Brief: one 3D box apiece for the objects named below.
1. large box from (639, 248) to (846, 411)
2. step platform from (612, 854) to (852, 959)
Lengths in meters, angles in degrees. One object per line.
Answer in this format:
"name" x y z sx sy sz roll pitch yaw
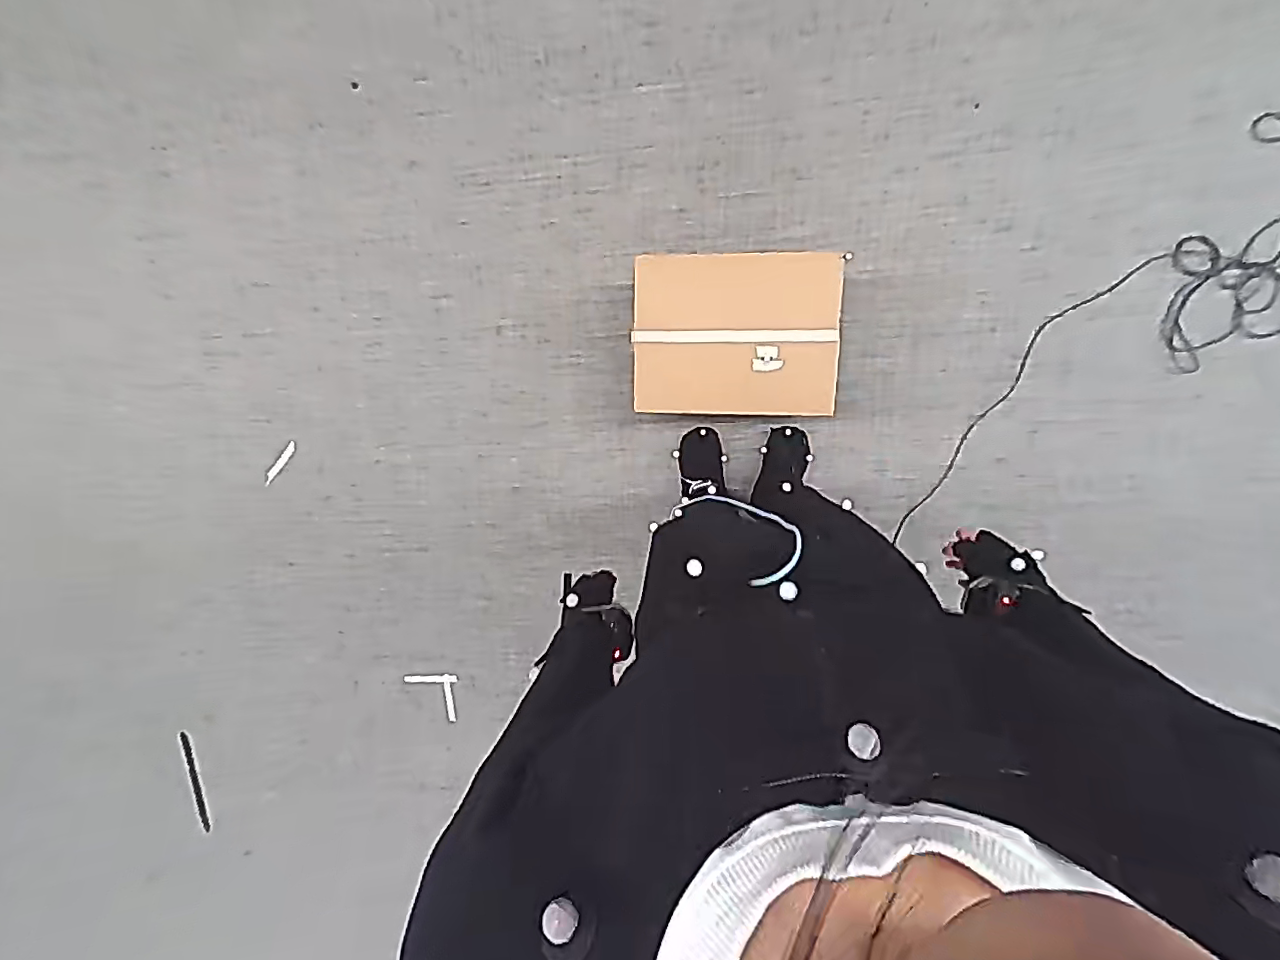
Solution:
"large box" 0.214 -0.323 1.225 0.408 0.320 0.320 2 102 7
"step platform" 0.258 1.324 1.590 0.684 0.204 0.286 -2 100 10
